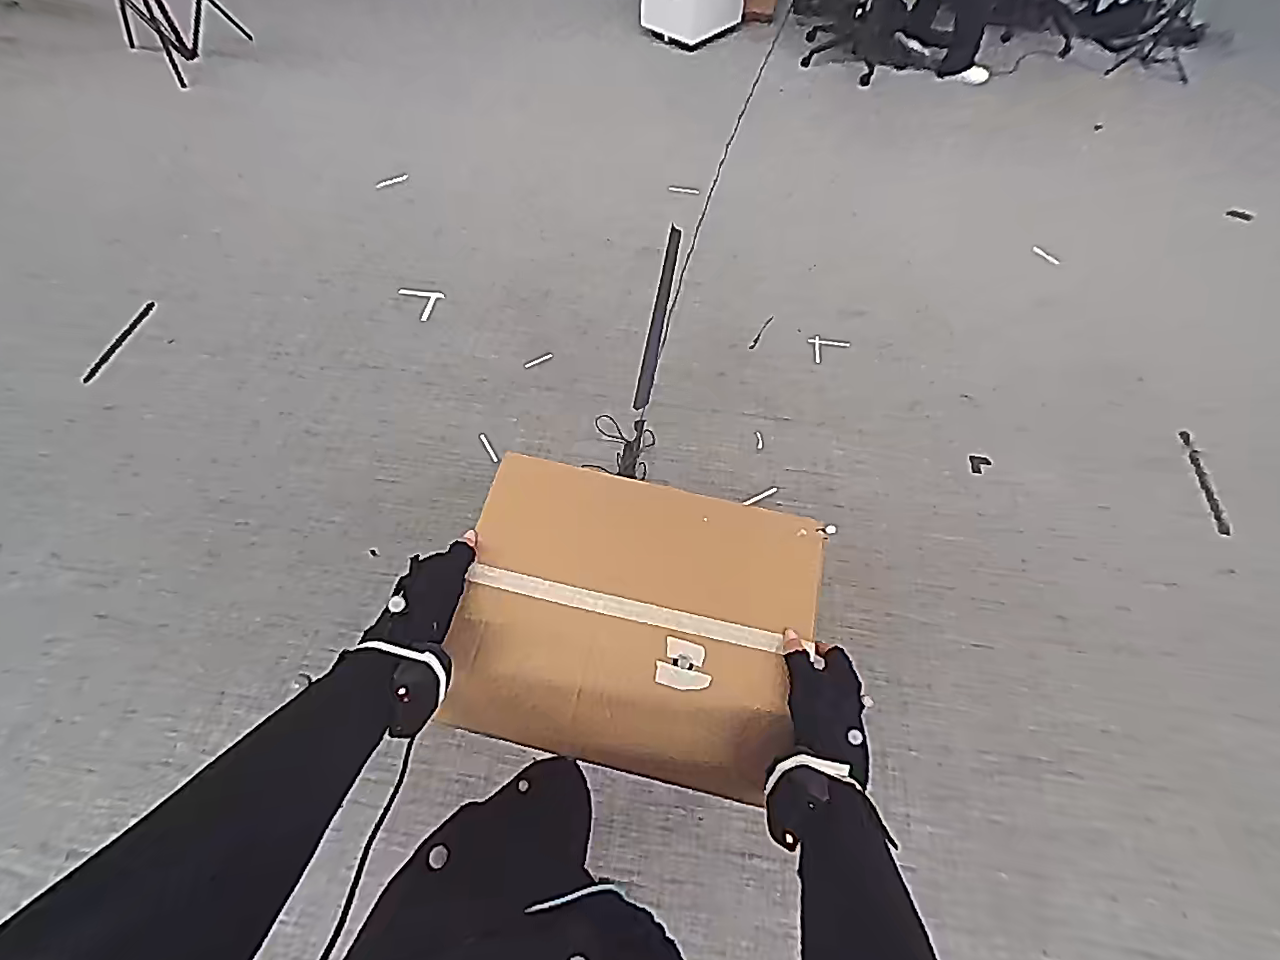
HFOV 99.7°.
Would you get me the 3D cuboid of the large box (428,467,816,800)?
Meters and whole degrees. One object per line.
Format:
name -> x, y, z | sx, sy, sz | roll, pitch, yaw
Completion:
large box -> -0.011, 0.217, 0.759 | 0.408, 0.320, 0.320 | 12, 66, 3
